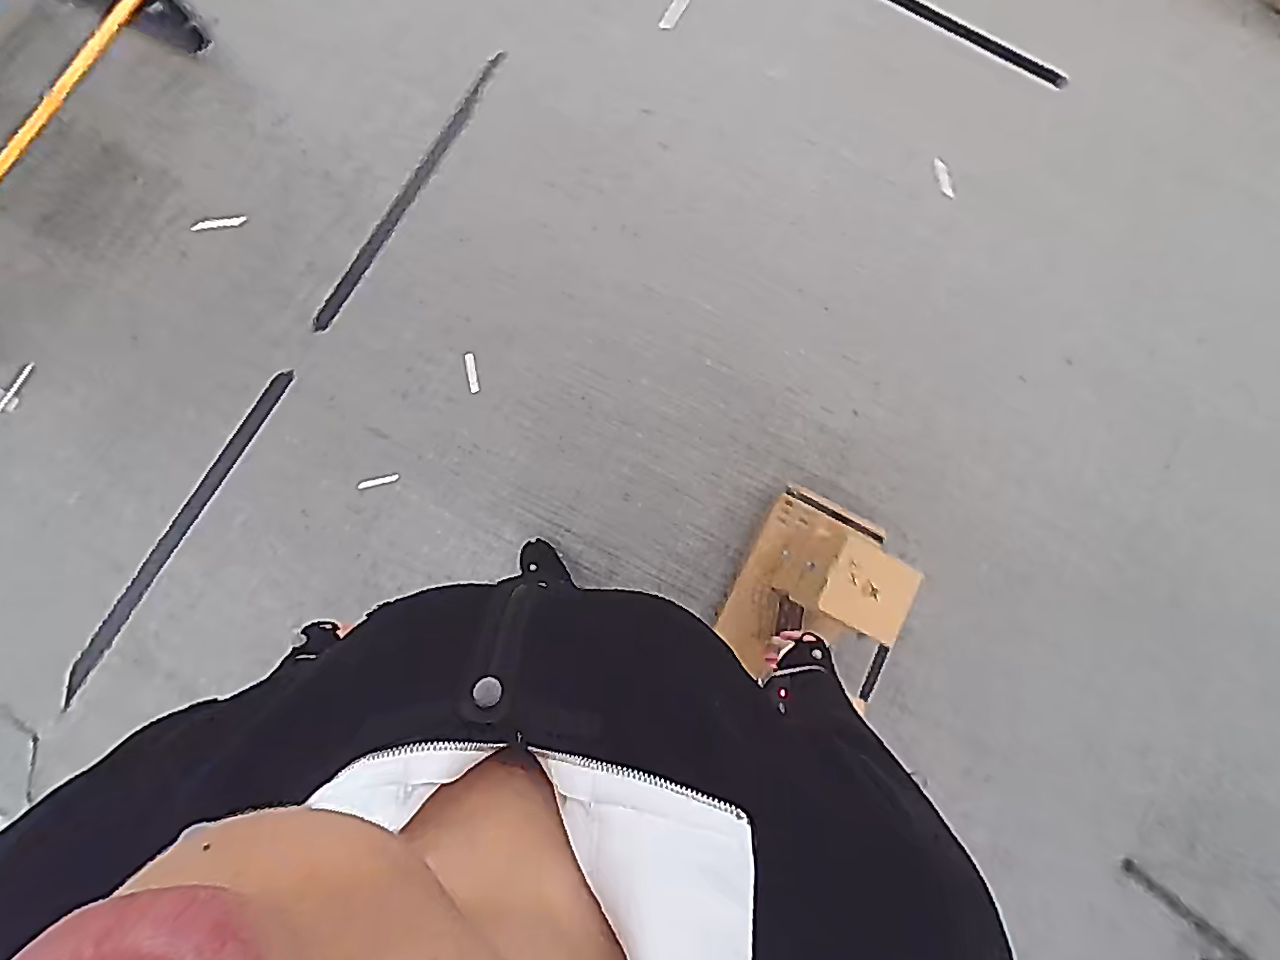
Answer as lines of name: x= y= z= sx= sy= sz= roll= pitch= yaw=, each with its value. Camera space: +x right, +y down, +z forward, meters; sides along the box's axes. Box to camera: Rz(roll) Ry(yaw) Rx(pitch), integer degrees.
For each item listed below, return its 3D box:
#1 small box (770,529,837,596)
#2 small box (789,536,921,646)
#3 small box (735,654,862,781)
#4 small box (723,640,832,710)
small box: x=0.450 y=0.230 z=1.334 sx=0.179 sy=0.176 sz=0.168 roll=27 pitch=83 yaw=2
small box: x=0.455 y=0.230 z=1.168 sx=0.179 sy=0.176 sz=0.168 roll=29 pitch=83 yaw=1
small box: x=0.323 y=0.483 z=1.131 sx=0.179 sy=0.176 sz=0.168 roll=26 pitch=80 yaw=1
small box: x=0.319 y=0.500 z=1.295 sx=0.179 sy=0.176 sz=0.168 roll=29 pitch=80 yaw=2
